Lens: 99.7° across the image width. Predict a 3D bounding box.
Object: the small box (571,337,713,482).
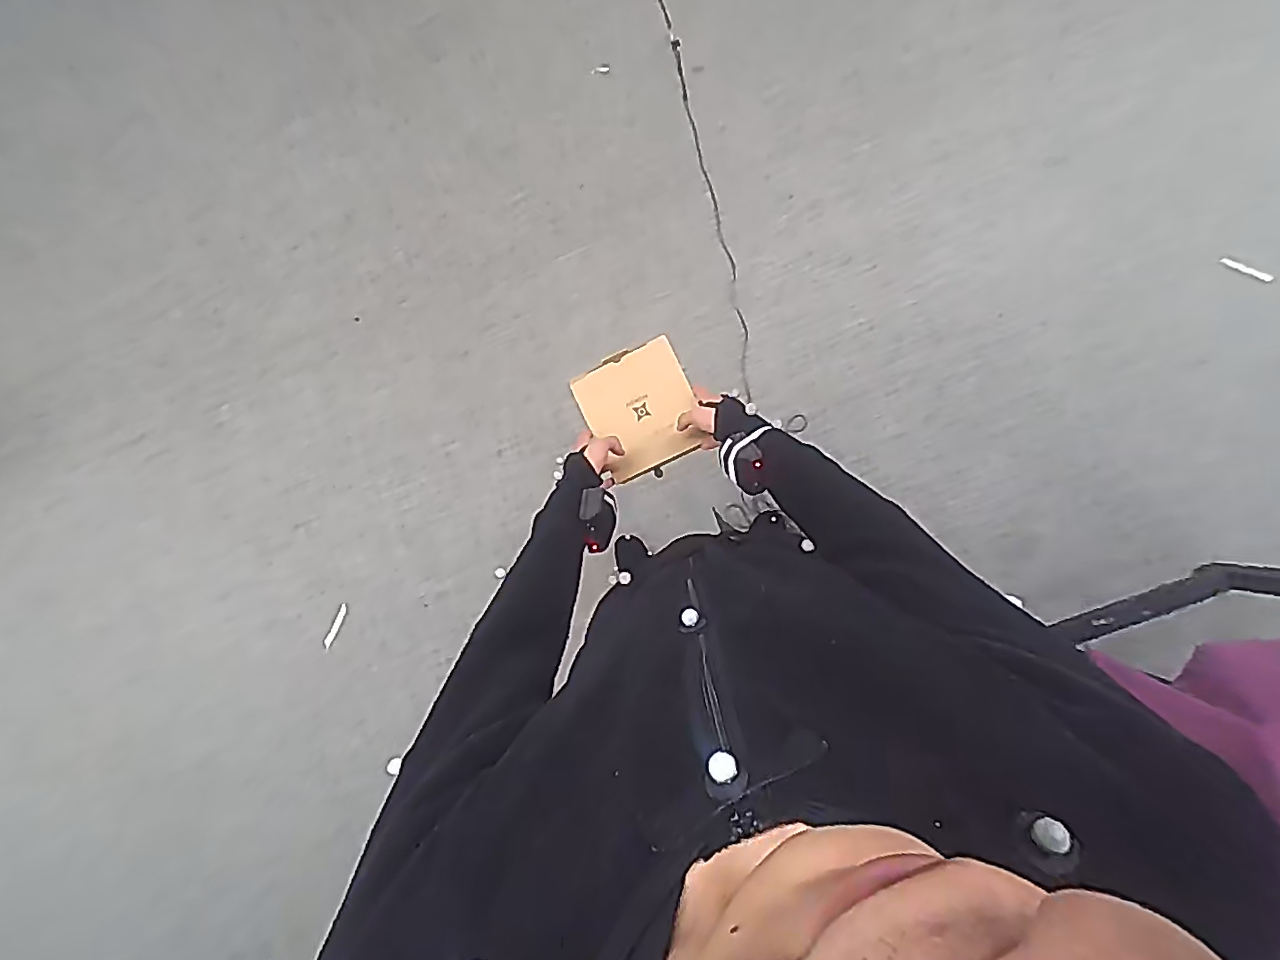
[{"bbox_3d":[0.005,-0.104,0.891,0.168,0.176,0.179,-25,89,3],"label":"small box"}]
